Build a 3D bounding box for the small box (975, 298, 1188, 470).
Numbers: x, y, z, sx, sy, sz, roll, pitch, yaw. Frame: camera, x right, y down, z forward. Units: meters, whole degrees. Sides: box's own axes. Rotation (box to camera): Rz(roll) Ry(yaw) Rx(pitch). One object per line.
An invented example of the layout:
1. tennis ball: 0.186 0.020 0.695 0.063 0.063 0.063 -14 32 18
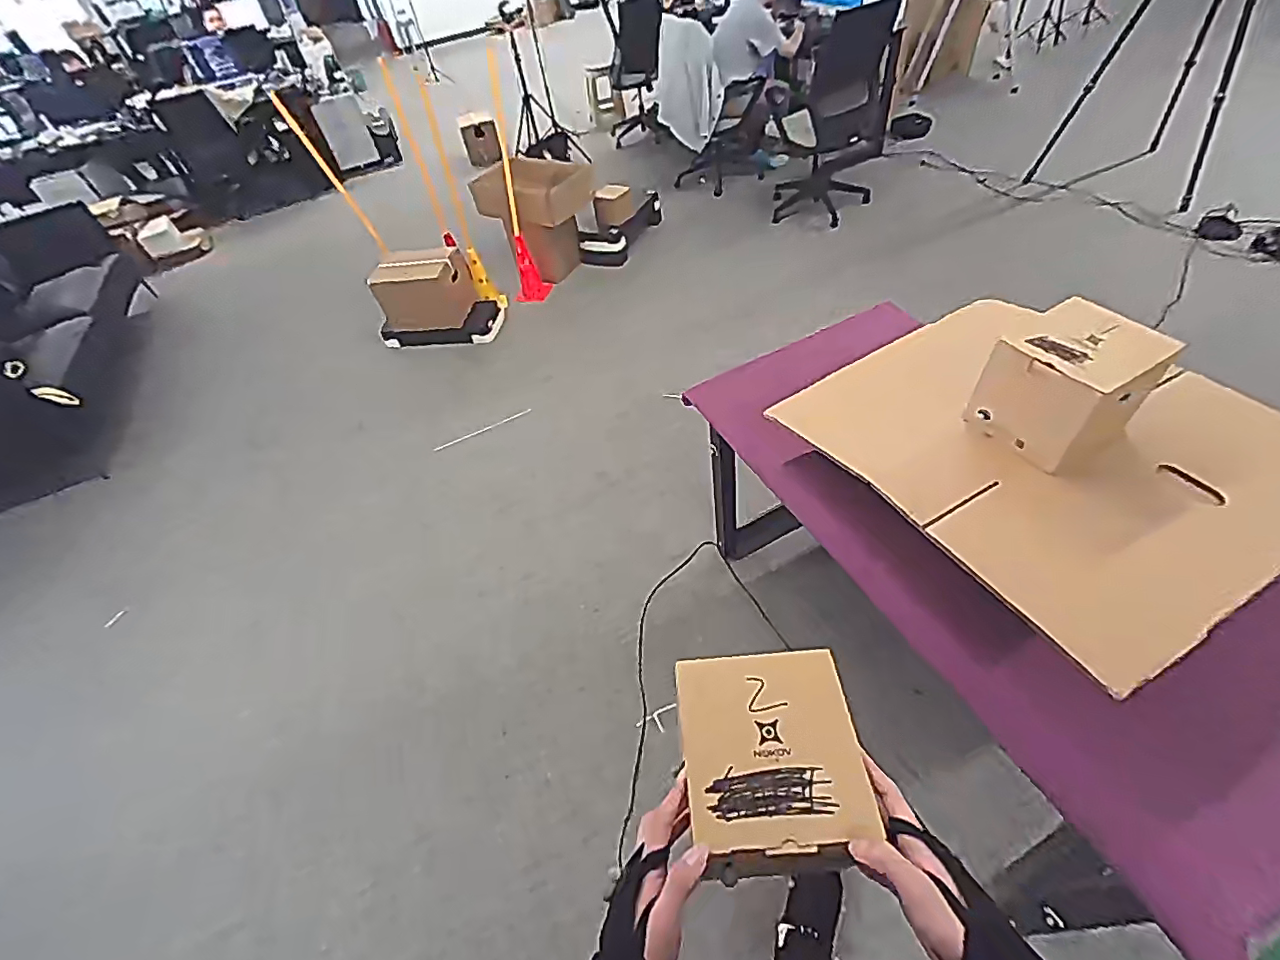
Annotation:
1. small box: 0.662 -0.146 0.842 0.179 0.176 0.168 -27 51 -13
